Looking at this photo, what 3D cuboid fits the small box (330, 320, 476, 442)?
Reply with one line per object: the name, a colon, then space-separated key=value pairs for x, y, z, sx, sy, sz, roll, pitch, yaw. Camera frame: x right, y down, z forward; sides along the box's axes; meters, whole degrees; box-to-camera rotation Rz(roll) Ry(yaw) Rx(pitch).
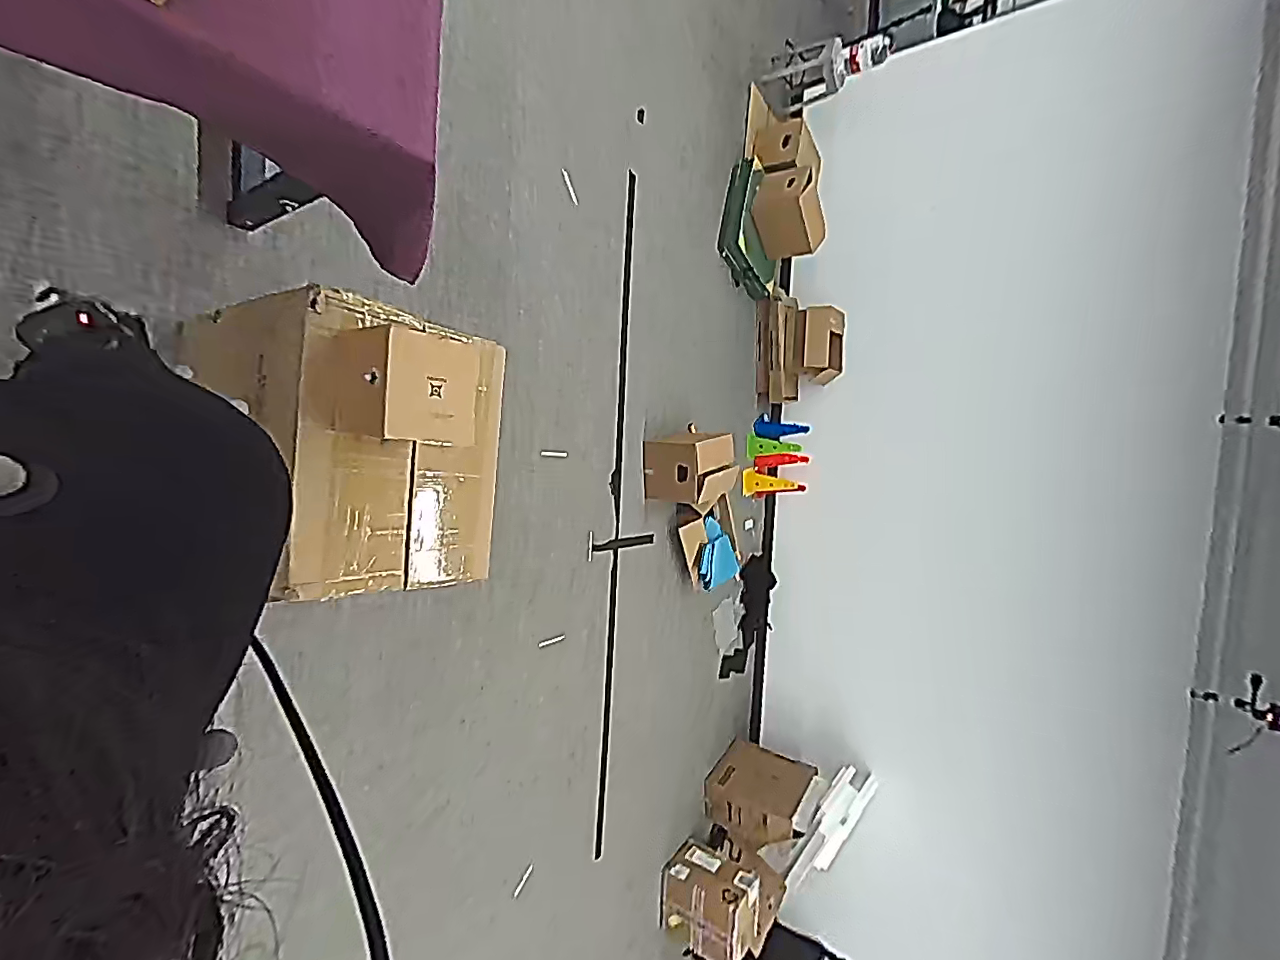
small box: x=-0.402 y=-0.159 z=0.917 sx=0.168 sy=0.176 sz=0.179 roll=0 pitch=96 yaw=-53
